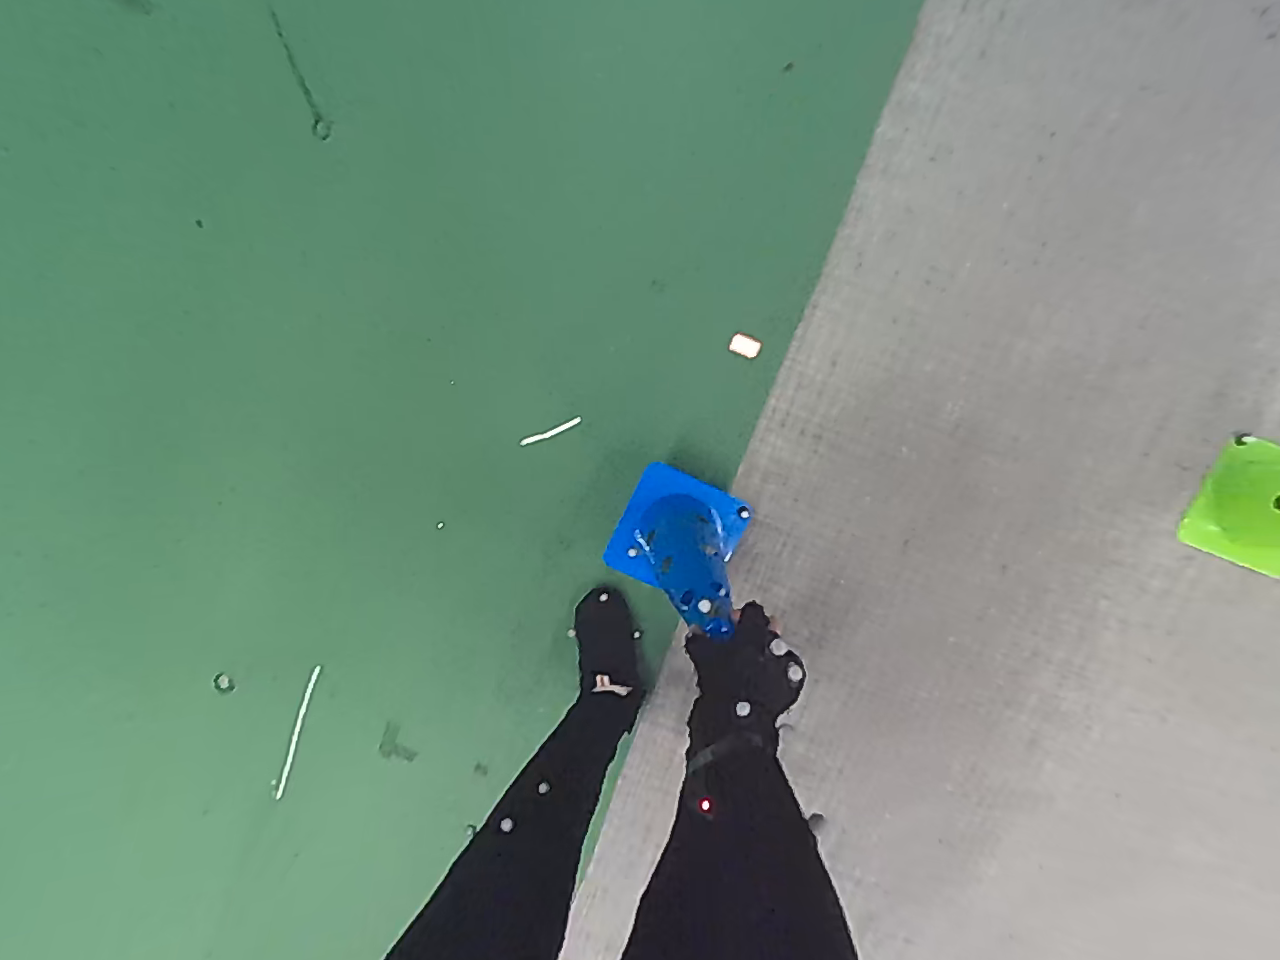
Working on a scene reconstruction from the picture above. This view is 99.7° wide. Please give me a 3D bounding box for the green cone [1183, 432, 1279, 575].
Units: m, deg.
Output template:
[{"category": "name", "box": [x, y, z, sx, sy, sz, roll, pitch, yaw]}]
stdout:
[{"category": "green cone", "box": [1.012, 0.067, 0.720, 0.202, 0.368, 0.200, 20, 100, 1]}]
